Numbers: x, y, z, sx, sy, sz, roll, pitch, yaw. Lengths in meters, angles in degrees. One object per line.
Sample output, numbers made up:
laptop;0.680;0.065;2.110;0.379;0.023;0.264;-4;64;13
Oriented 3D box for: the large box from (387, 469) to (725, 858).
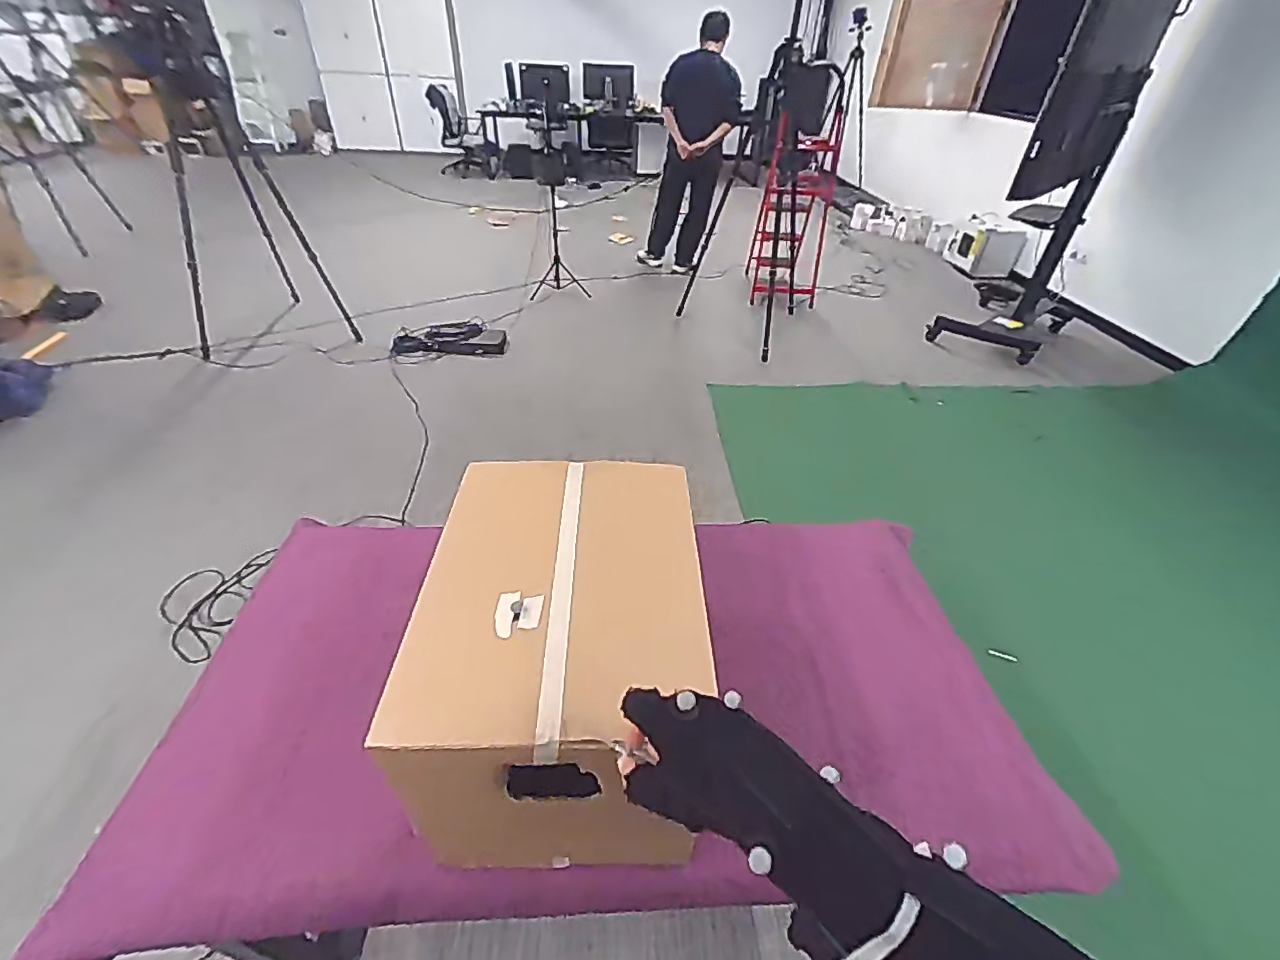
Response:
large box;-0.090;0.230;0.730;0.320;0.320;0.408;1;39;-3
